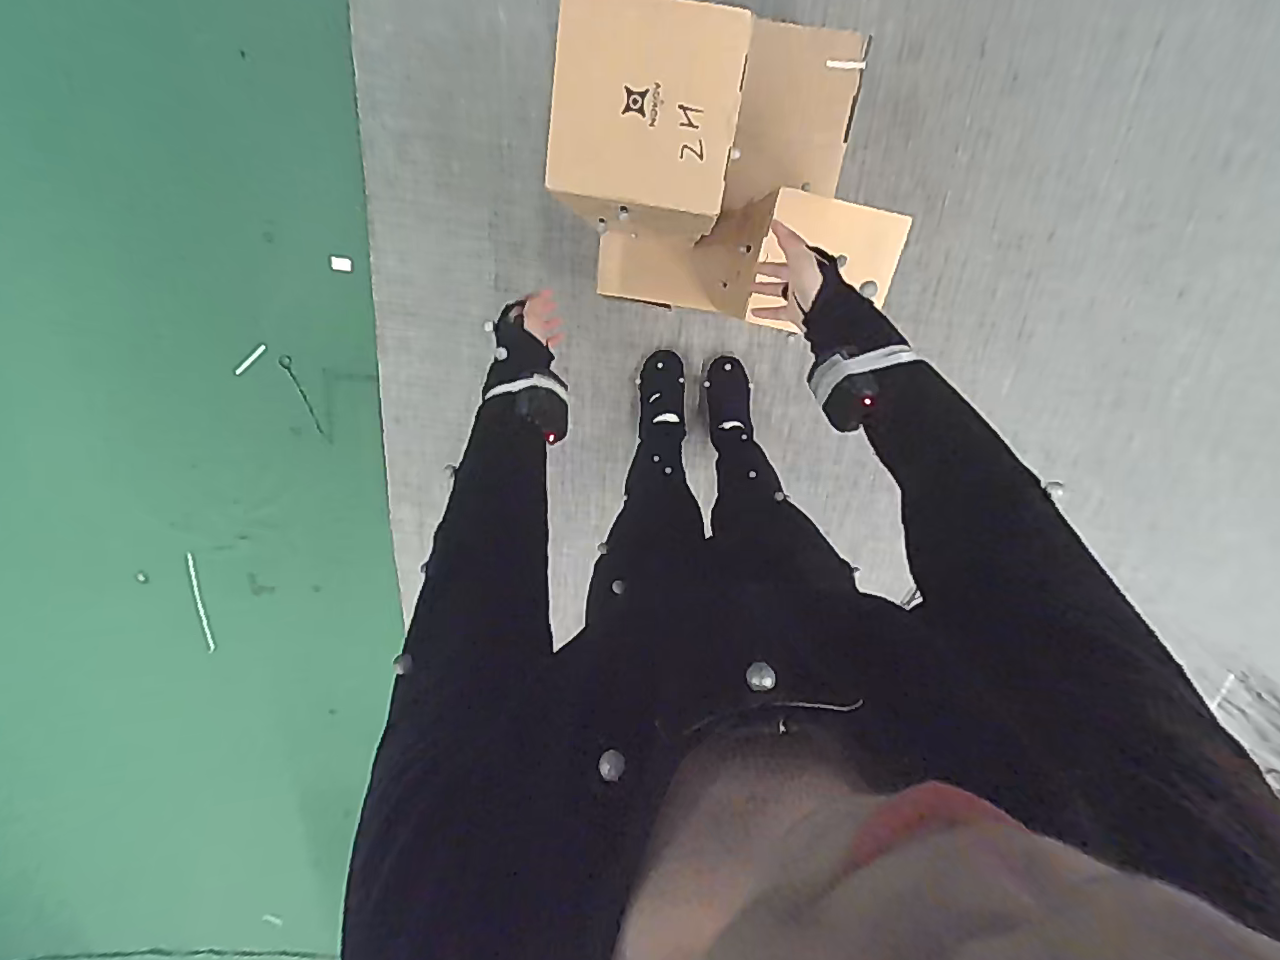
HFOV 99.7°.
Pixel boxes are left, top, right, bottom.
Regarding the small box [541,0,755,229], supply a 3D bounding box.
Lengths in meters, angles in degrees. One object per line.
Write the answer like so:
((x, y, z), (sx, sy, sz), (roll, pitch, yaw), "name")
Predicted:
((0.008, -0.372, 0.570), (0.179, 0.176, 0.168), (10, 110, 1), "small box")

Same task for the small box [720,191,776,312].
((0.236, -0.362, 0.912), (0.168, 0.176, 0.179), (11, 109, -3), "small box")

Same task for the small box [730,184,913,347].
((0.239, -0.297, 0.762), (0.179, 0.176, 0.168), (12, 110, -3), "small box")

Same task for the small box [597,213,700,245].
((0.030, -0.495, 0.876), (0.168, 0.176, 0.179), (12, 109, 0), "small box")
